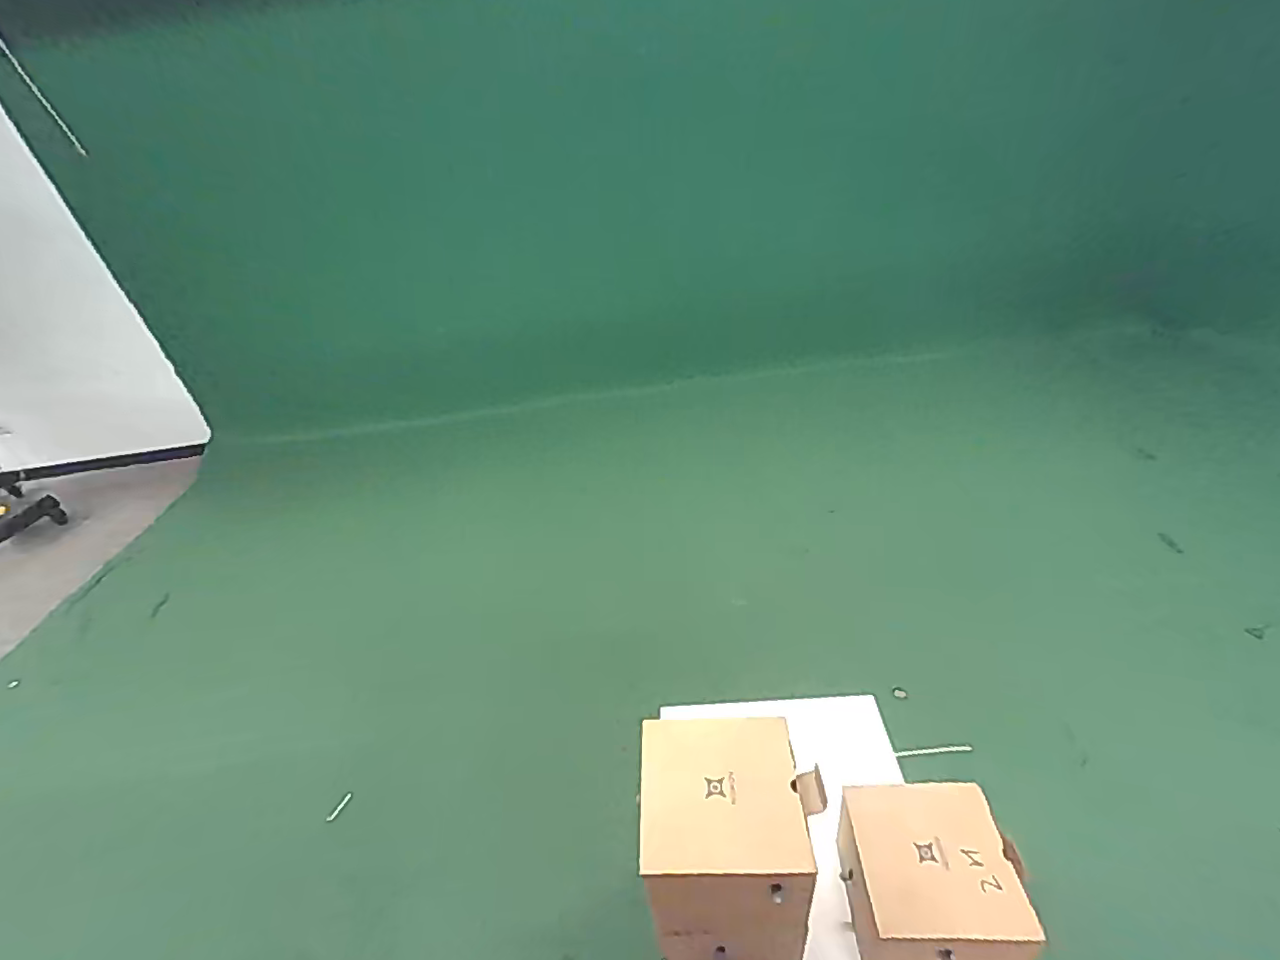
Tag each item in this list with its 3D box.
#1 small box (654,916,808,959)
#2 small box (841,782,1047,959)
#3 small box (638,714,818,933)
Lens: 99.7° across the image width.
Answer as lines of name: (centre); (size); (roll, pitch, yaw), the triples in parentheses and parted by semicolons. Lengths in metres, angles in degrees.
small box: (0.114, 0.530, 0.717); (0.179, 0.176, 0.168); (-6, 34, 4)
small box: (0.362, 0.509, 0.687); (0.179, 0.176, 0.168); (-5, 36, 7)
small box: (0.095, 0.396, 0.626); (0.179, 0.176, 0.168); (-4, 35, 4)
